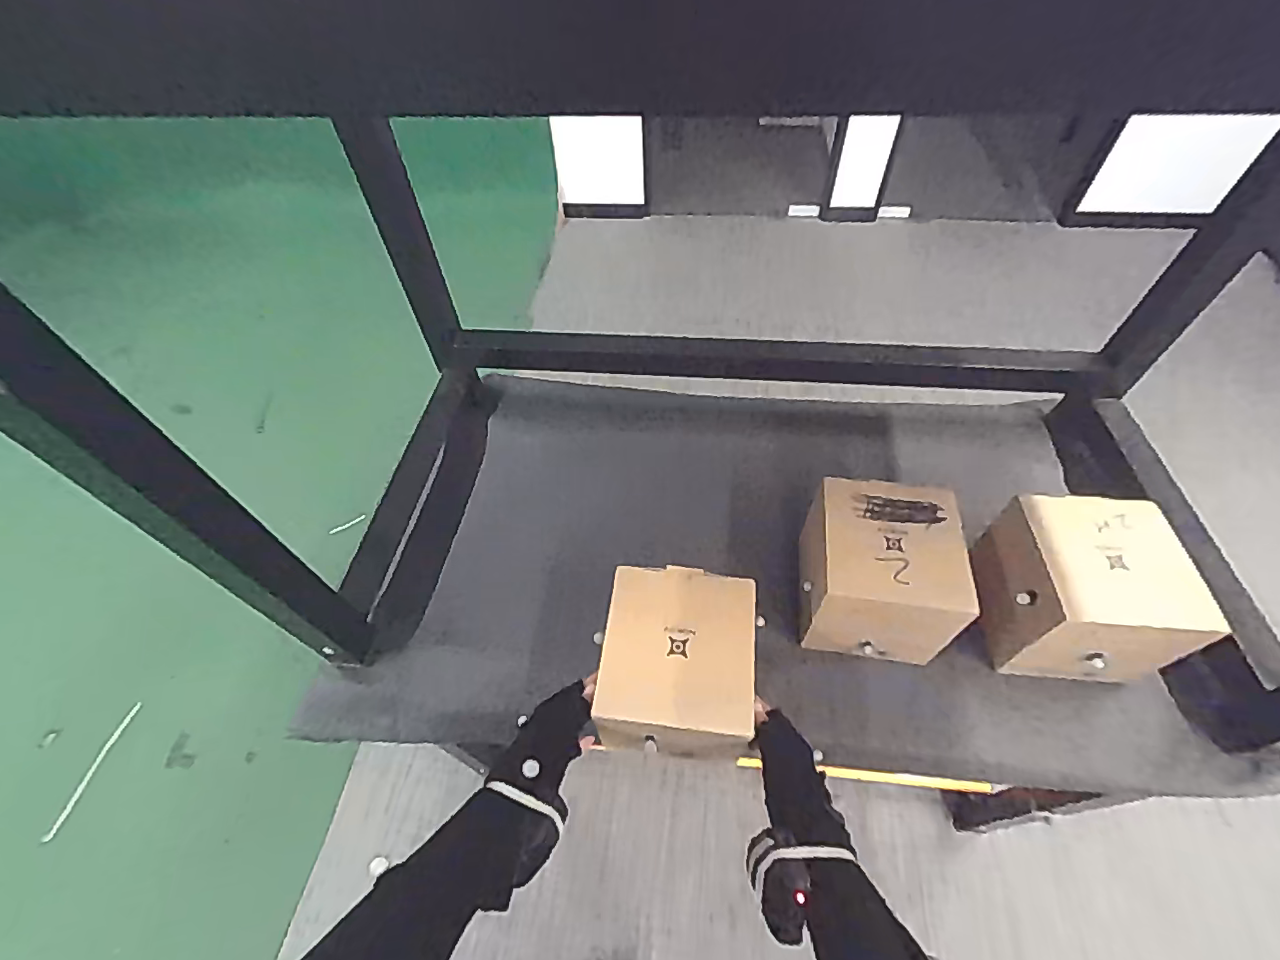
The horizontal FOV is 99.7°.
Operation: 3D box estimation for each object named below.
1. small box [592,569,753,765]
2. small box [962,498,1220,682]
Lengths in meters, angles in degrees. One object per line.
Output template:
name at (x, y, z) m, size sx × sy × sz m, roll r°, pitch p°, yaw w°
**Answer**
small box at (0.045, 0.231, 0.657) m, size 0.168 × 0.176 × 0.179 m, roll 5°, pitch 52°, yaw 6°
small box at (0.553, 0.145, 0.698) m, size 0.168 × 0.176 × 0.179 m, roll 3°, pitch 51°, yaw 5°
